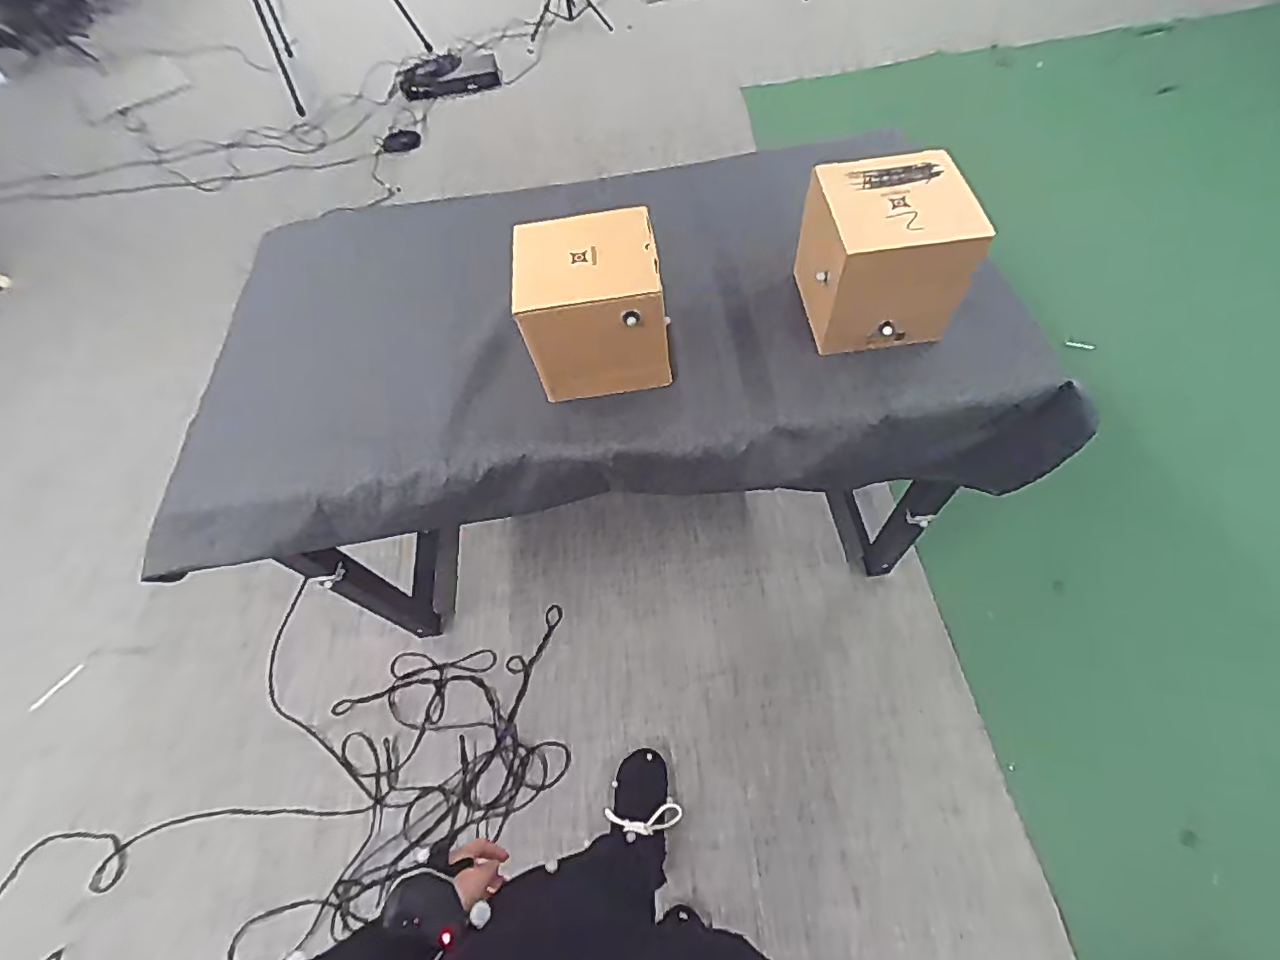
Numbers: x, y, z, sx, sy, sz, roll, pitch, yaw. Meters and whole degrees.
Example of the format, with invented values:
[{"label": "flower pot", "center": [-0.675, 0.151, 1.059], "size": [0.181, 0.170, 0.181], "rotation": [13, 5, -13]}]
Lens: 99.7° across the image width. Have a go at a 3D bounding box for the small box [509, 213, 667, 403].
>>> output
[{"label": "small box", "center": [-0.063, -0.221, 0.723], "size": [0.179, 0.176, 0.168], "rotation": [-8, 58, 1]}]
